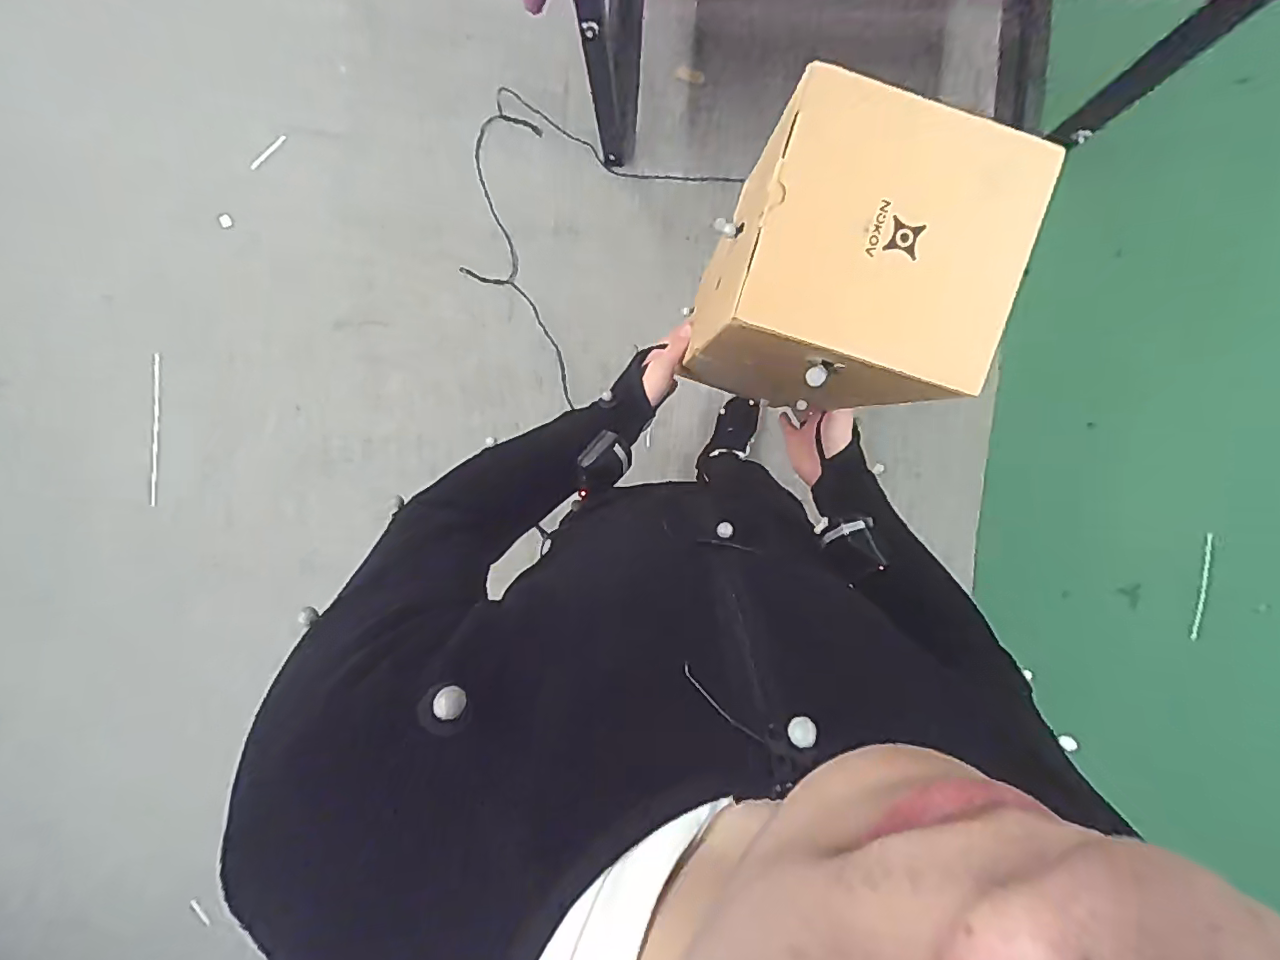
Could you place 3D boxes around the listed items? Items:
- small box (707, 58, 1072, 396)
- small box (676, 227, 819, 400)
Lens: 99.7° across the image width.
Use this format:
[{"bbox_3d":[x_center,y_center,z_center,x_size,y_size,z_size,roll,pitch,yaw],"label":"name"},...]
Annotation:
[{"bbox_3d":[0.166,-0.168,0.424,0.179,0.176,0.168,16,96,-3],"label":"small box"},{"bbox_3d":[0.161,-0.214,0.747,0.179,0.176,0.168,18,95,-3],"label":"small box"}]
